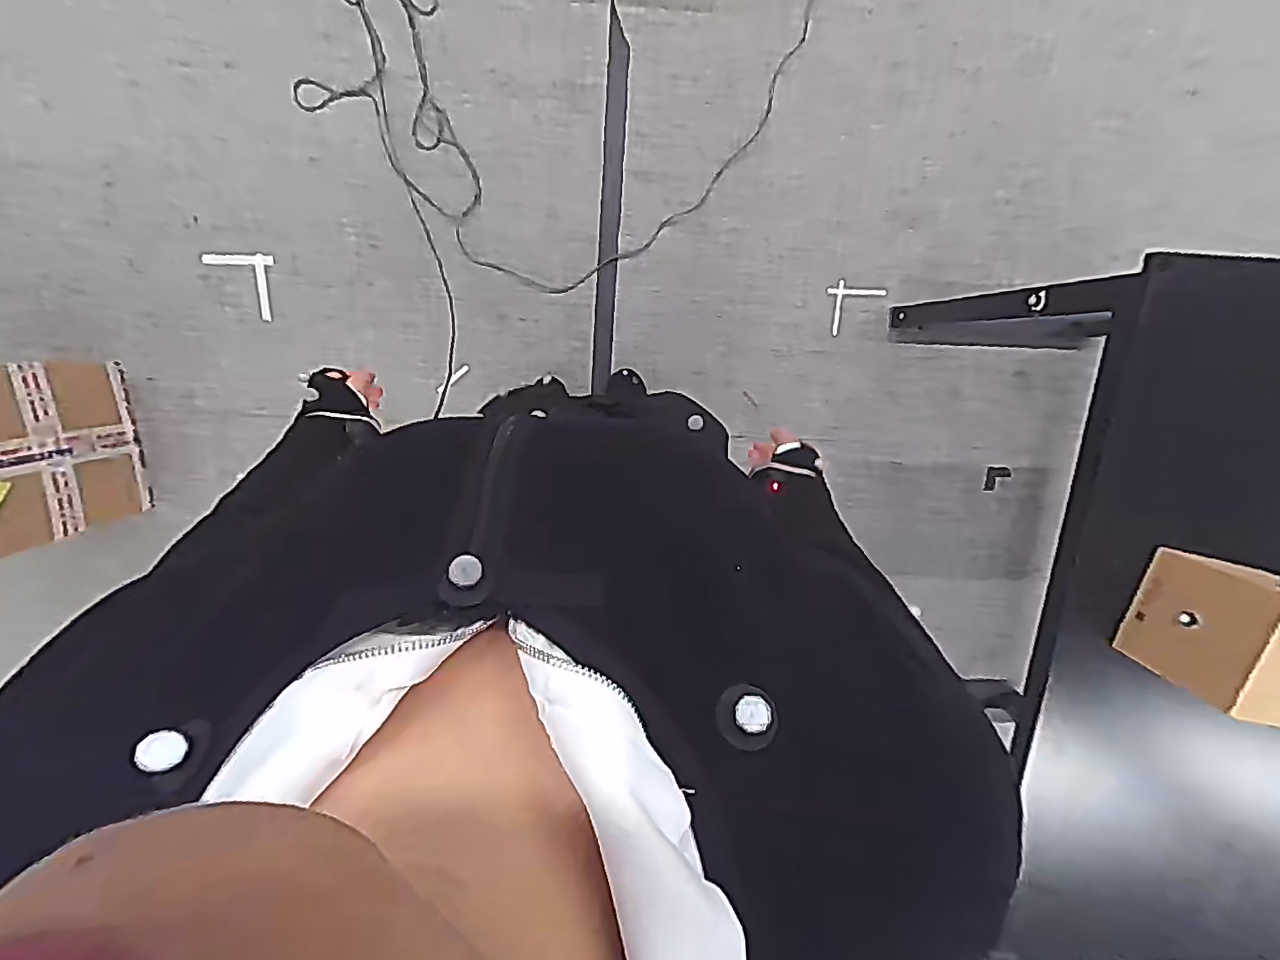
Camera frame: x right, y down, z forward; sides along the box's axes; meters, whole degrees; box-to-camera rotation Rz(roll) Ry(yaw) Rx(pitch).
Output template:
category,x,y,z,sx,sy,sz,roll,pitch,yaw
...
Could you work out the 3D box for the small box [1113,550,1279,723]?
category,x,y,z,sx,sy,sz,roll,pitch,yaw
small box,0.818,0.208,0.739,0.179,0.176,0.168,13,103,-6
